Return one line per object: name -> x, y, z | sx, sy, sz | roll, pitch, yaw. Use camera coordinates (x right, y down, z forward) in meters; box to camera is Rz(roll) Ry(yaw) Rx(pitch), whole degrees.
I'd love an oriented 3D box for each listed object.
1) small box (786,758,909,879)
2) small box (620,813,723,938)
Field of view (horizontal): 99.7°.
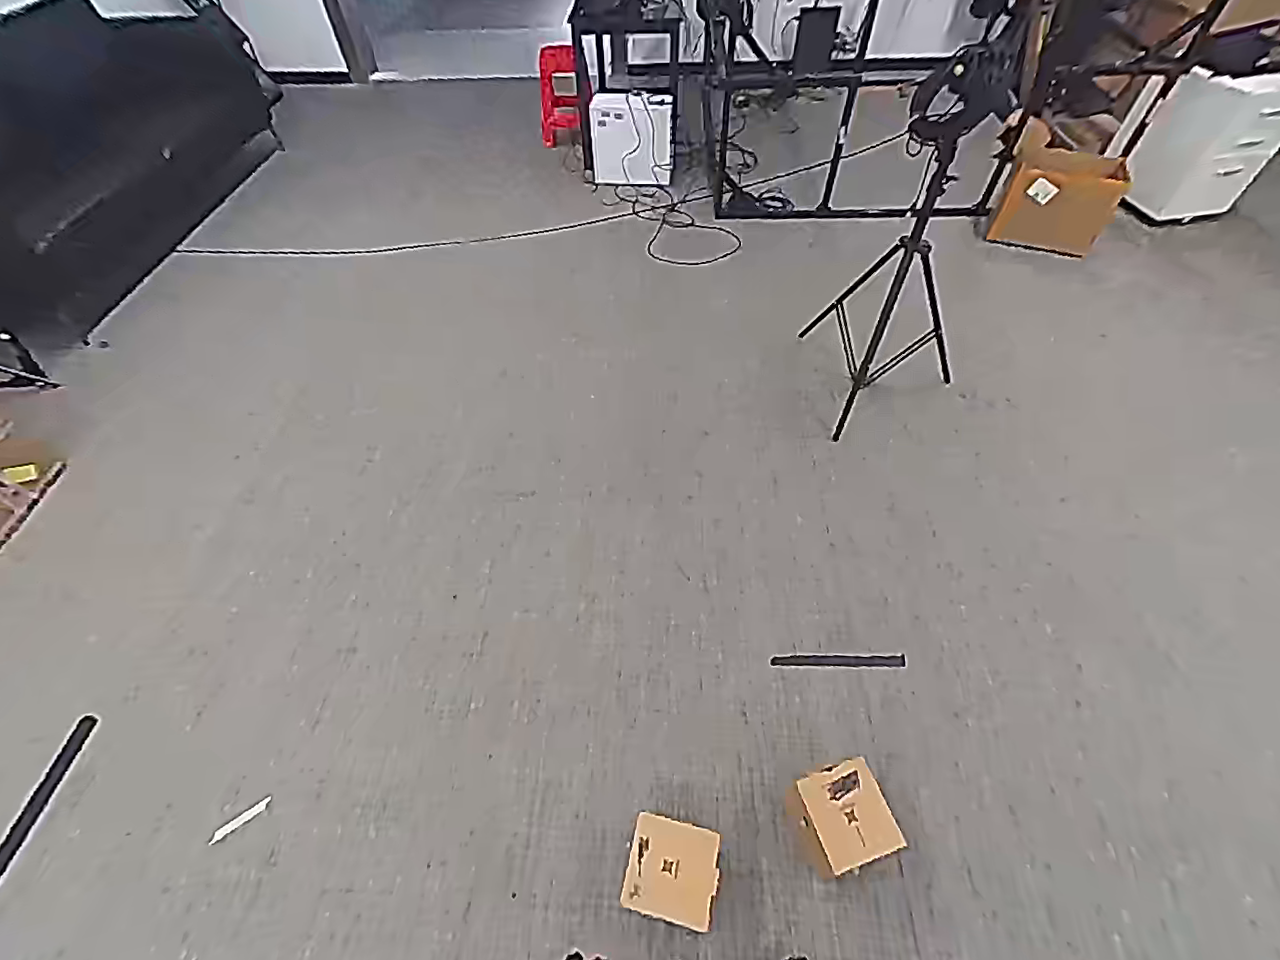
small box -> 0.436, 0.737, 1.175 | 0.168, 0.176, 0.179 | -15, 53, -9
small box -> 0.067, 0.821, 1.127 | 0.179, 0.176, 0.168 | 11, 53, 10
